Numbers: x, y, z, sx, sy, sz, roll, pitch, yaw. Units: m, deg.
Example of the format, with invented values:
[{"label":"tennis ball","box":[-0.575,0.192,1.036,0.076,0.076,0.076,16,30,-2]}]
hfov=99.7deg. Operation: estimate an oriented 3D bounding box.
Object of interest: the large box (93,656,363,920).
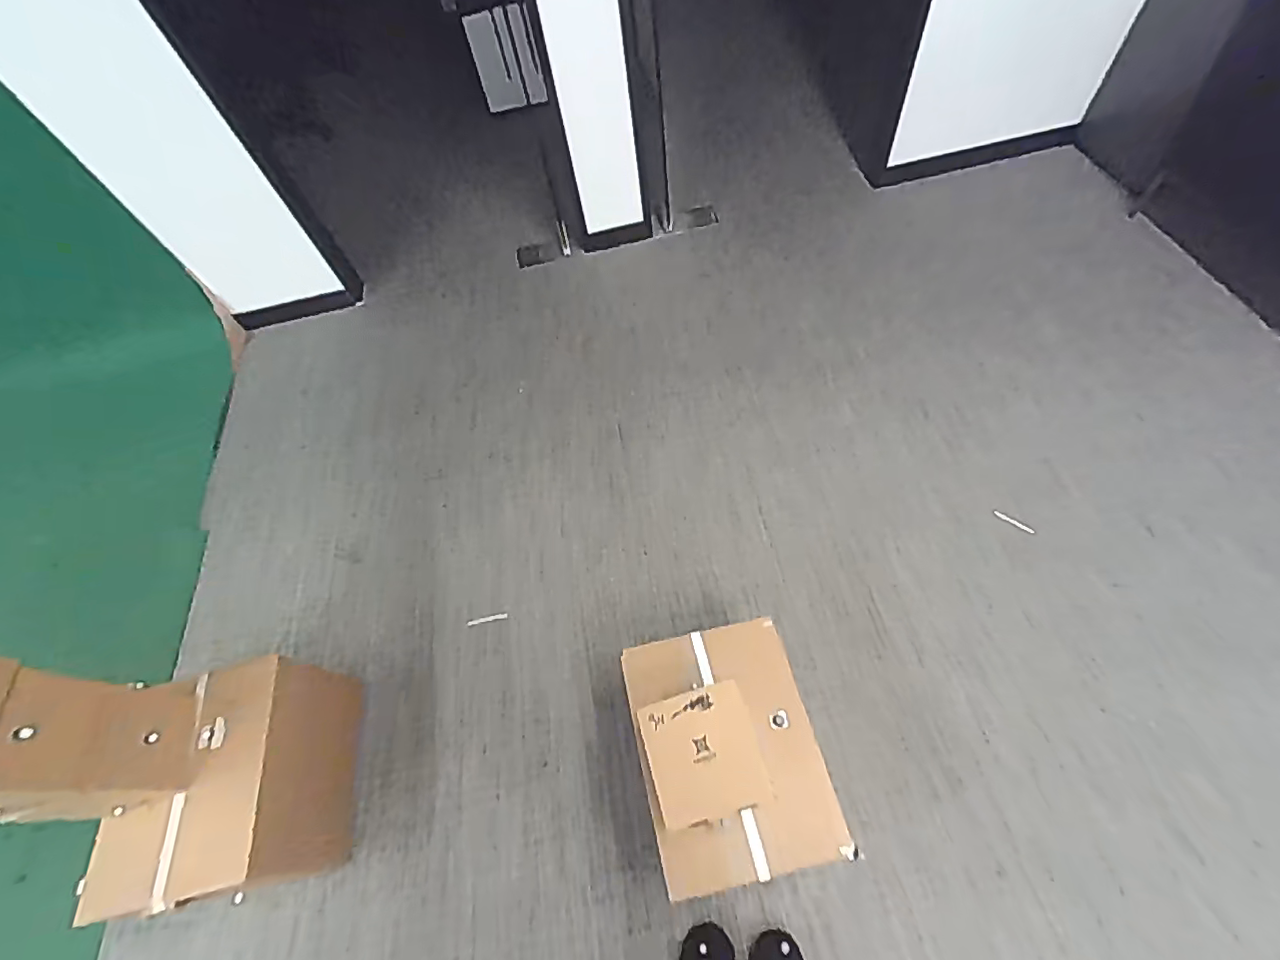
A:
[{"label":"large box","box":[-0.842,0.652,1.180,0.320,0.320,0.408,-14,58,0]}]

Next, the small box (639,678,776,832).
[{"label":"small box","box":[0.110,0.445,0.882,0.168,0.176,0.179,-18,60,0]}]

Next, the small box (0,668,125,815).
[{"label":"small box","box":[-0.990,0.422,0.862,0.168,0.176,0.179,-16,60,2]}]

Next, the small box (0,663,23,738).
[{"label":"small box","box":[-1.014,0.335,0.725,0.168,0.176,0.179,-15,60,4]}]
